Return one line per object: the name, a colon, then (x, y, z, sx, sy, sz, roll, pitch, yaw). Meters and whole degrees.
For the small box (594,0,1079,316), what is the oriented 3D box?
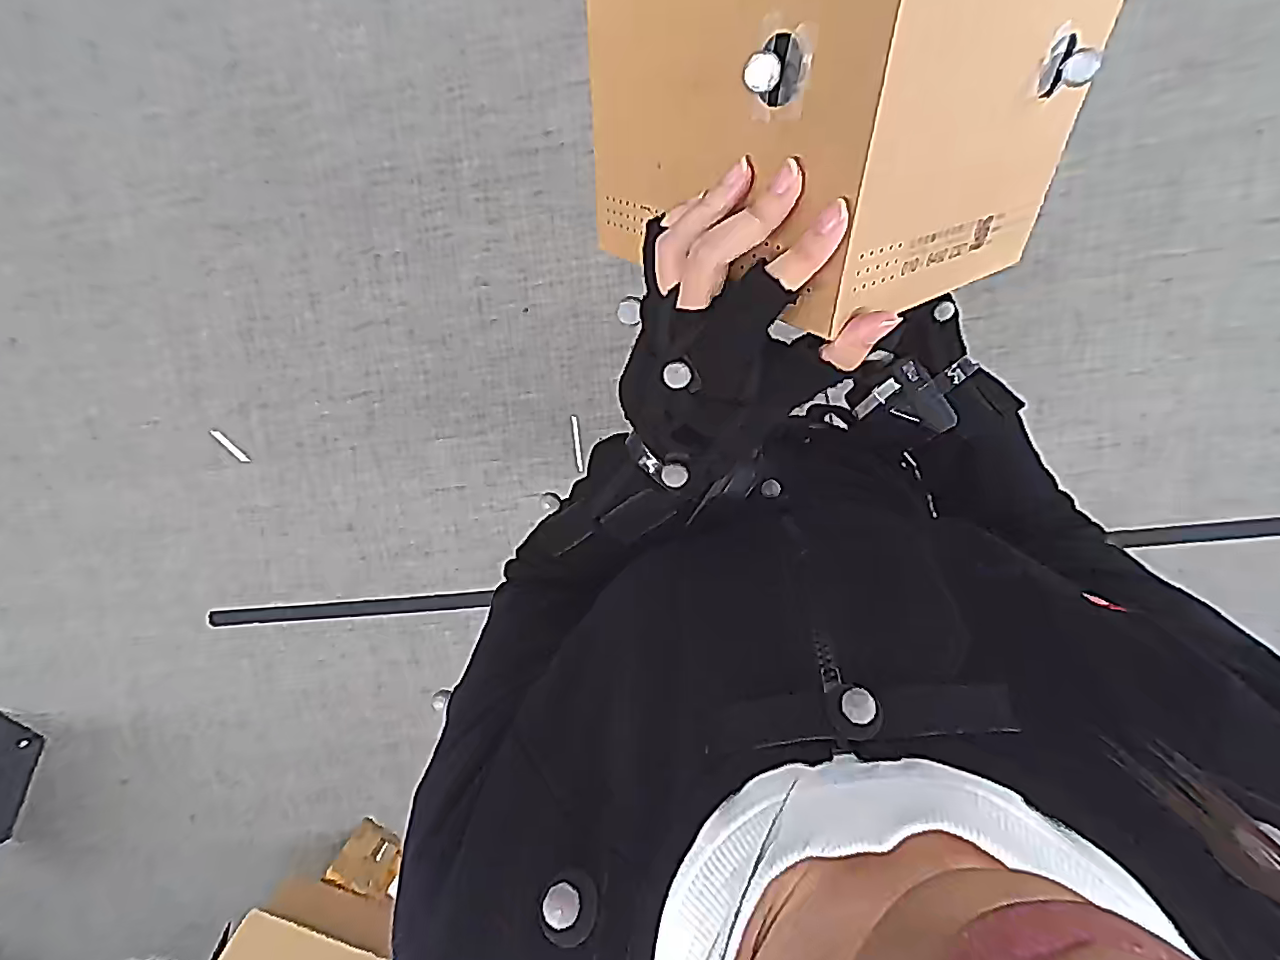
small box: (0.092, -0.199, 0.285, 0.168, 0.179, 0.176, -25, 134, -28)
